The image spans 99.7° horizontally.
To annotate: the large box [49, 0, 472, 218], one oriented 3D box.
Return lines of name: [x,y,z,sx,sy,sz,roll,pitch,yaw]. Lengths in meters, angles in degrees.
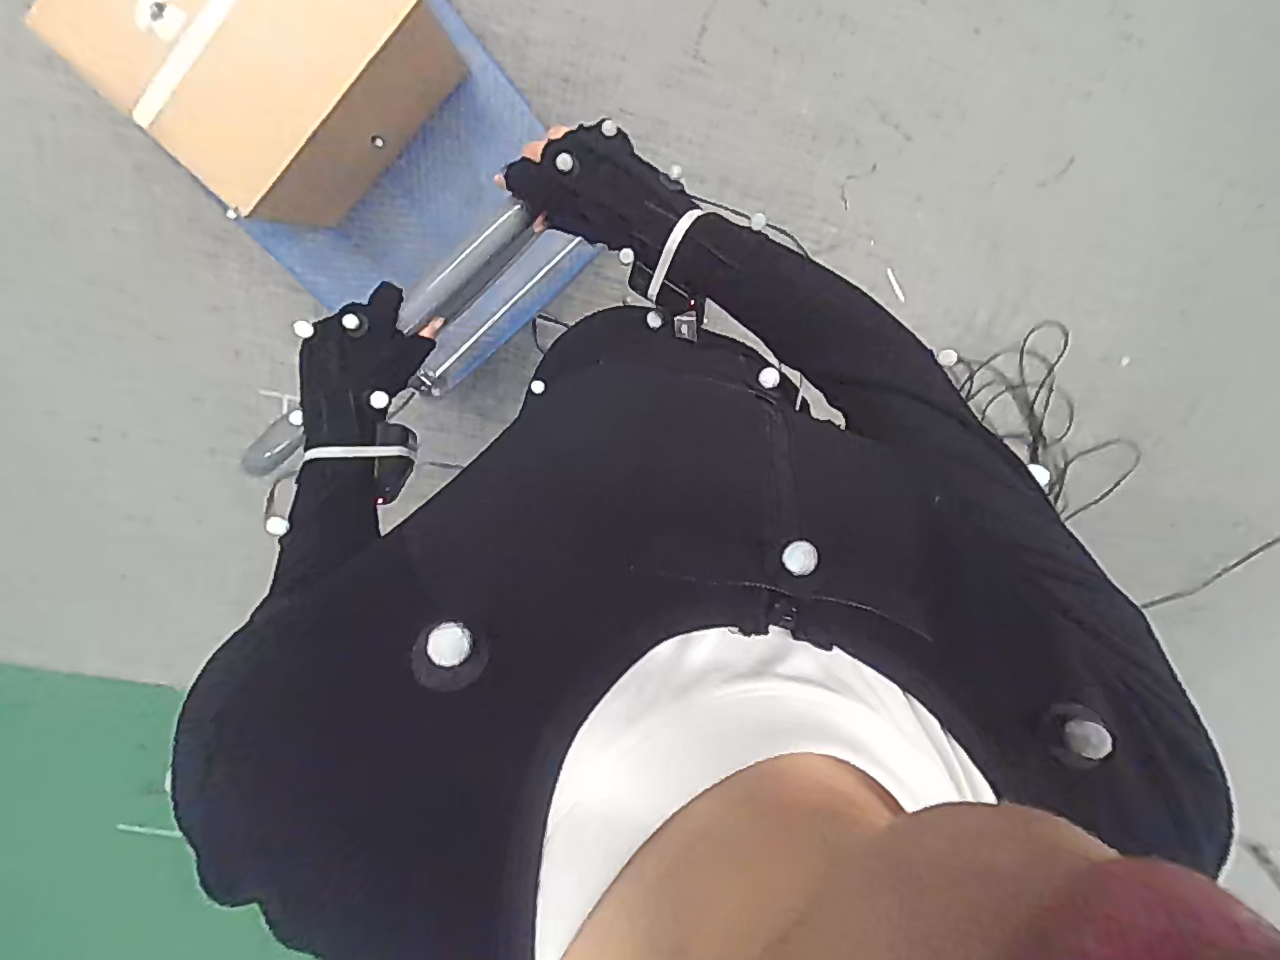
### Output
large box: [-0.534,-0.684,0.844,0.408,0.320,0.320,-41,110,12]
